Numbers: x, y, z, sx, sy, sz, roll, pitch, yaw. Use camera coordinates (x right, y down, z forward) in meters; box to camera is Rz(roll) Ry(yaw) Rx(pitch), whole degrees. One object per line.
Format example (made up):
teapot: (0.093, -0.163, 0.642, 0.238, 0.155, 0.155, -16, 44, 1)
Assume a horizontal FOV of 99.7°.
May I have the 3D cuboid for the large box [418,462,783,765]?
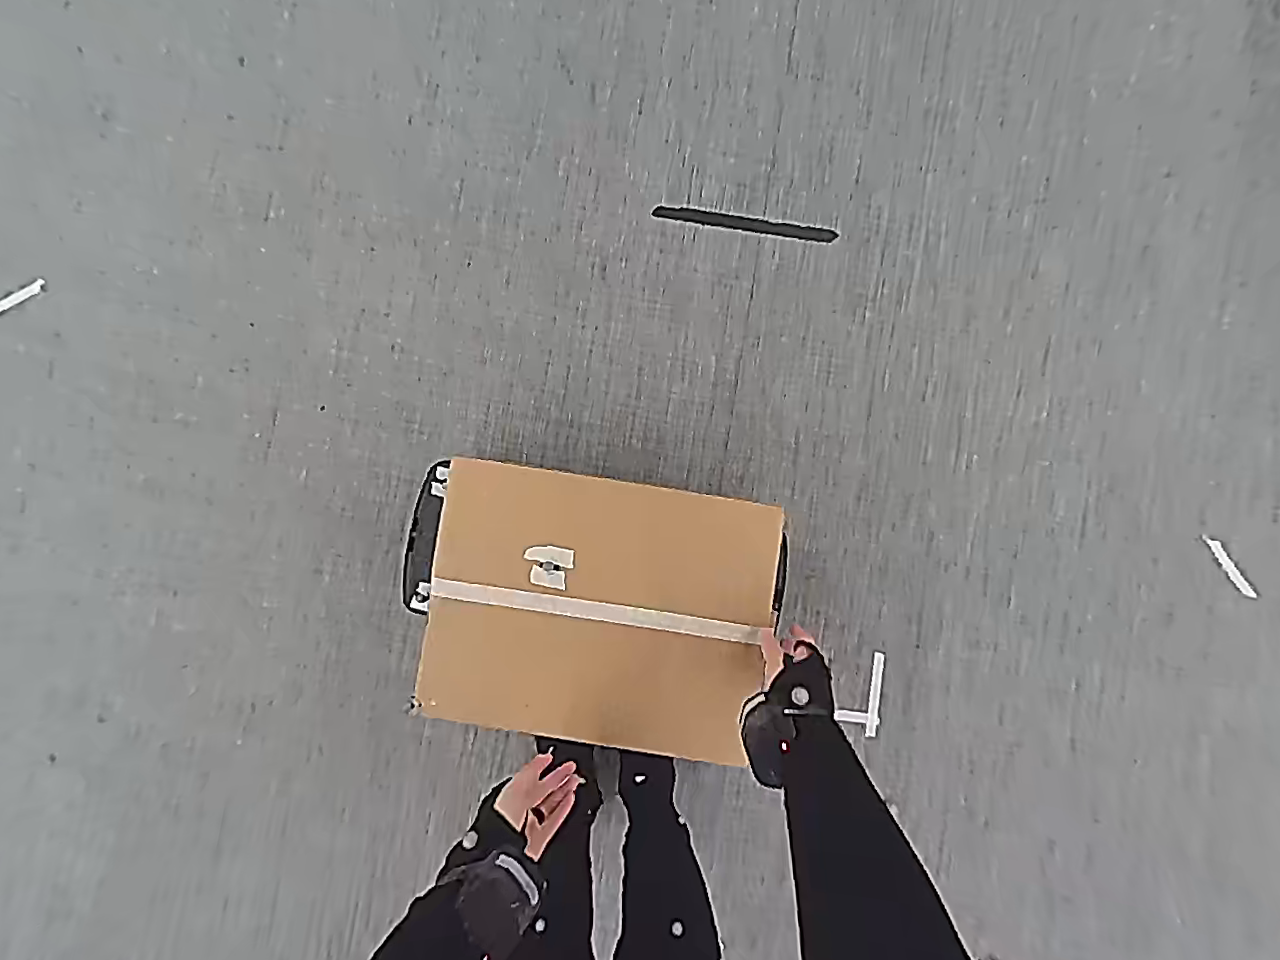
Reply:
large box: (-0.042, 0.160, 0.787, 0.408, 0.320, 0.320, 9, 88, 2)
